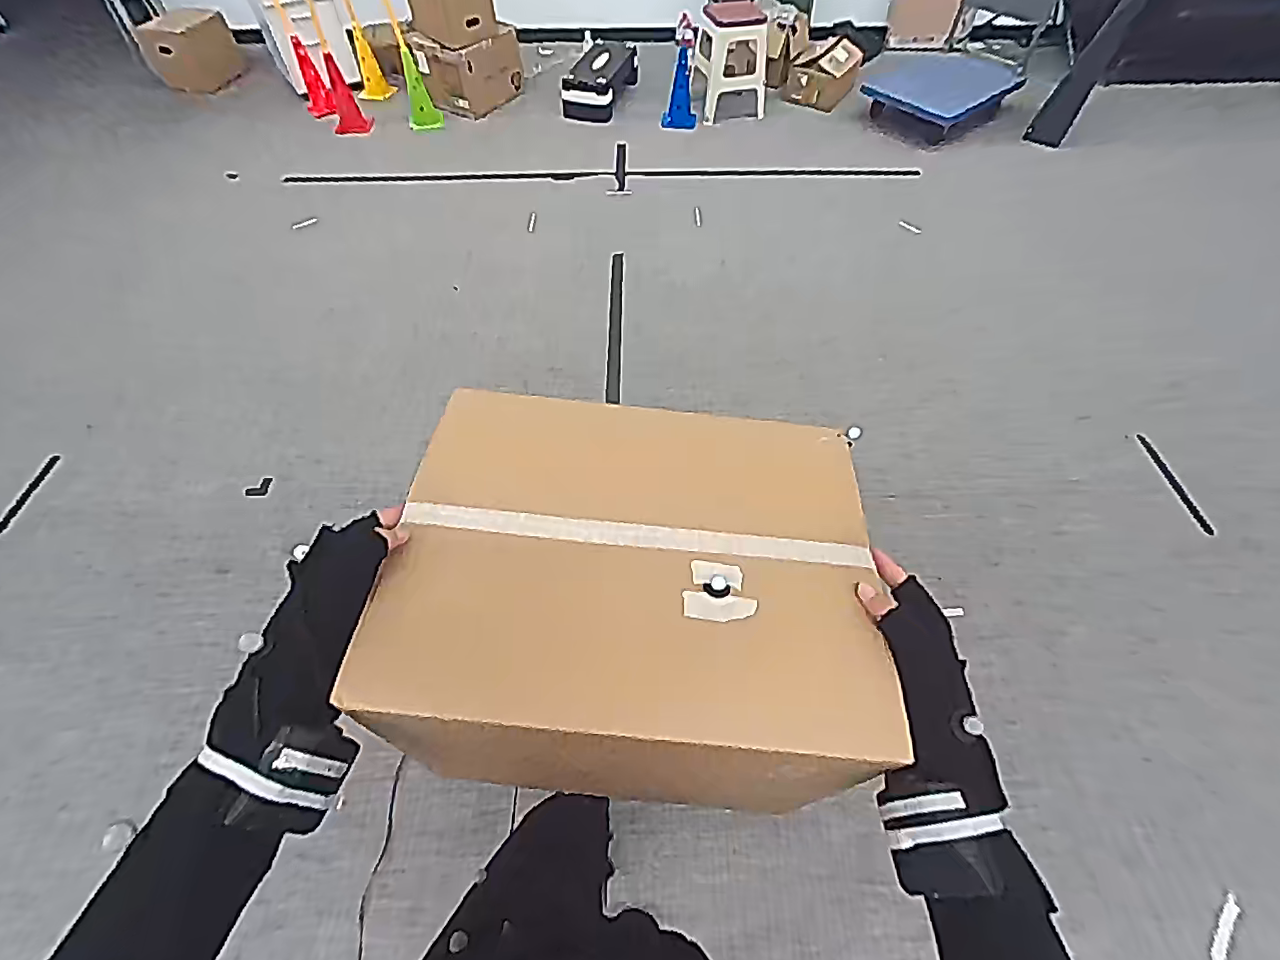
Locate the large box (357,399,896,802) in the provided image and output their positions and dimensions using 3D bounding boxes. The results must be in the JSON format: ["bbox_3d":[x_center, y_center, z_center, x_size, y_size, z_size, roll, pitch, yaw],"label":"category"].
[{"bbox_3d":[-0.011,0.143,0.597,0.408,0.320,0.320,6,52,0],"label":"large box"}]
